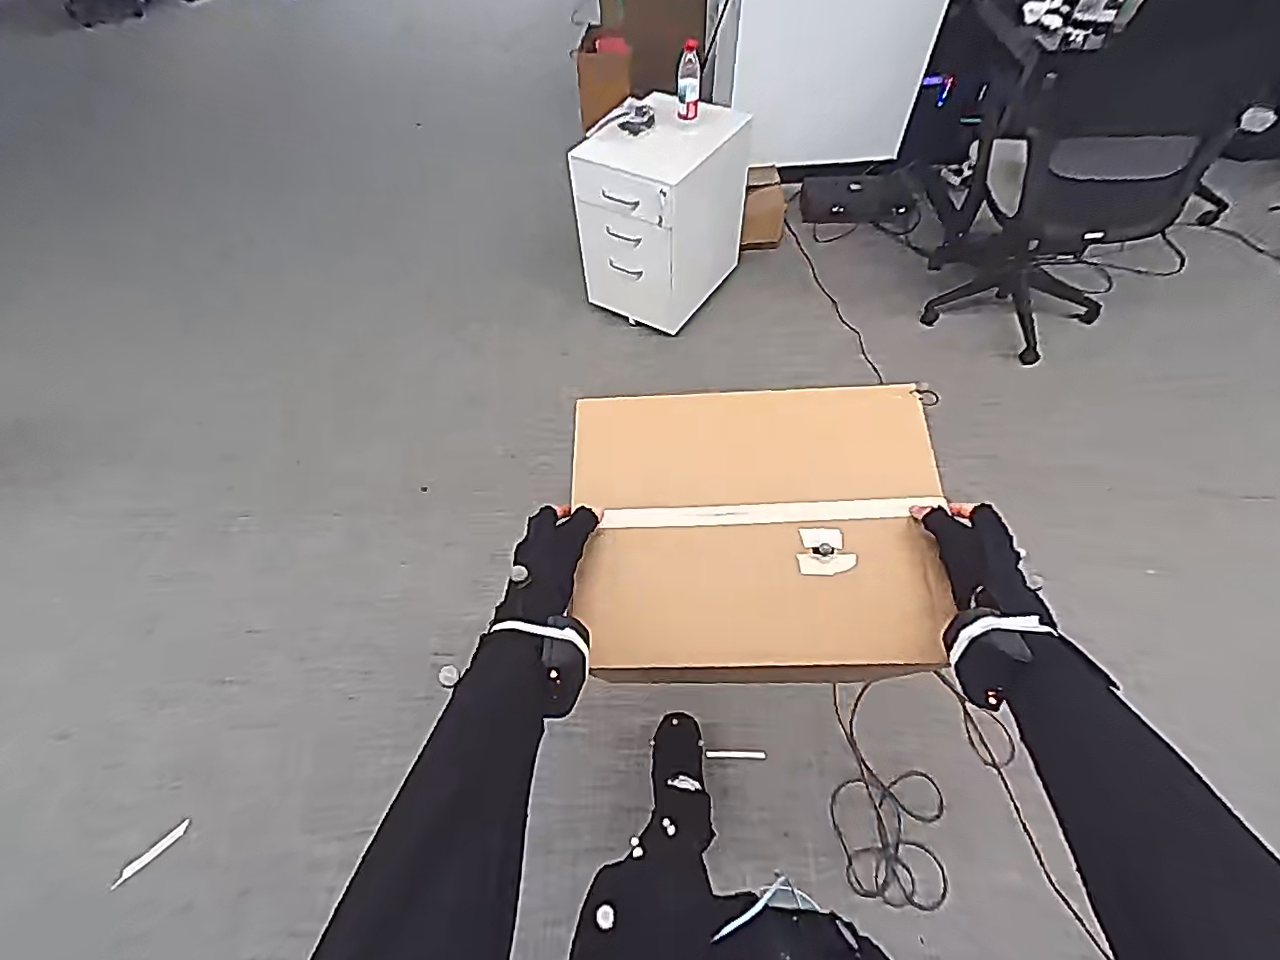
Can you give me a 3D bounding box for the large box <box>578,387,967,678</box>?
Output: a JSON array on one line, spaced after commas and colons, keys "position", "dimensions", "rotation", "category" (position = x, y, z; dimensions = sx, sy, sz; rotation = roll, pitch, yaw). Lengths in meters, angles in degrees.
[{"position": [0.138, 0.095, 0.745], "dimensions": [0.408, 0.320, 0.320], "rotation": [-2, 67, 4], "category": "large box"}]
